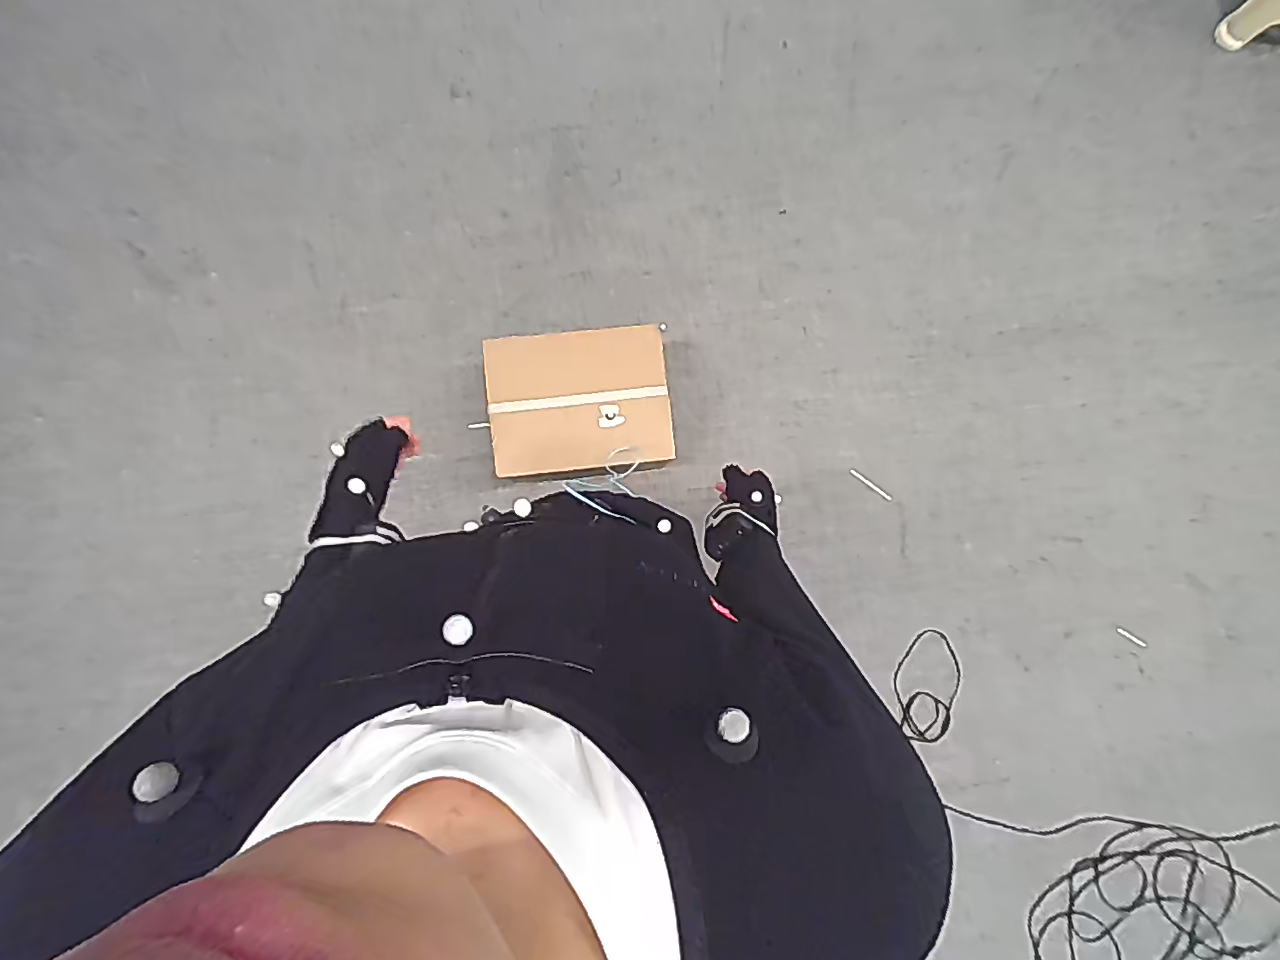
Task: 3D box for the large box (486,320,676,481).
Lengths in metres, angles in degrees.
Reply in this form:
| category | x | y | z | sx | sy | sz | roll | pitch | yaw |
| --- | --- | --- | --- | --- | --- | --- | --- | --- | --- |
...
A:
| category | x | y | z | sx | sy | sz | roll | pitch | yaw |
| --- | --- | --- | --- | --- | --- | --- | --- | --- | --- |
| large box | -0.141 | -0.180 | 1.358 | 0.408 | 0.320 | 0.320 | -6 | 88 | -4 |
